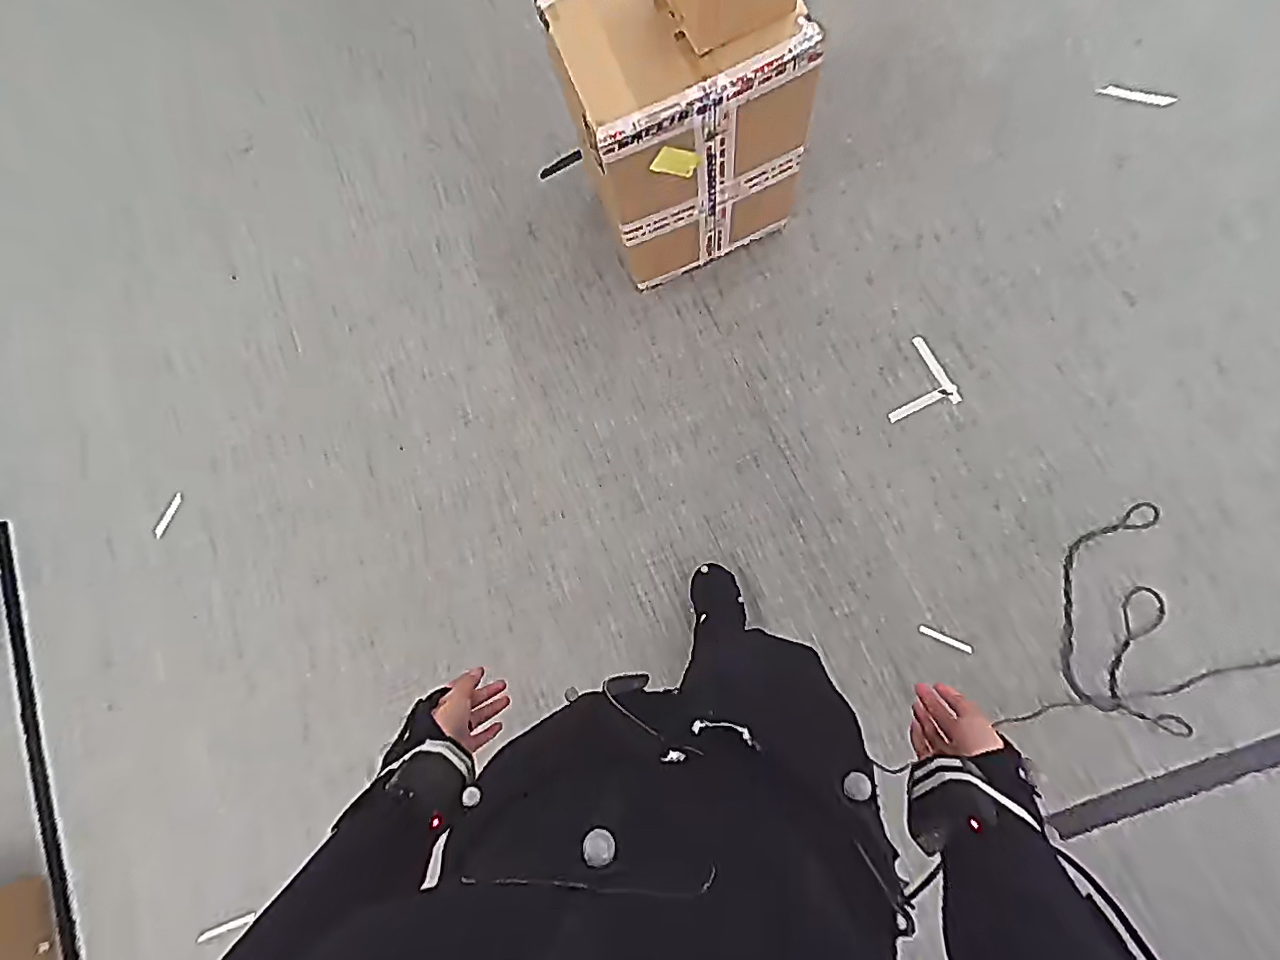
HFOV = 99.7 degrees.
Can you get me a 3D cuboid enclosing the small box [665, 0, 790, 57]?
[{"bbox_3d":[0.128,-0.792,0.807,0.179,0.176,0.168,-25,80,2],"label":"small box"}]
